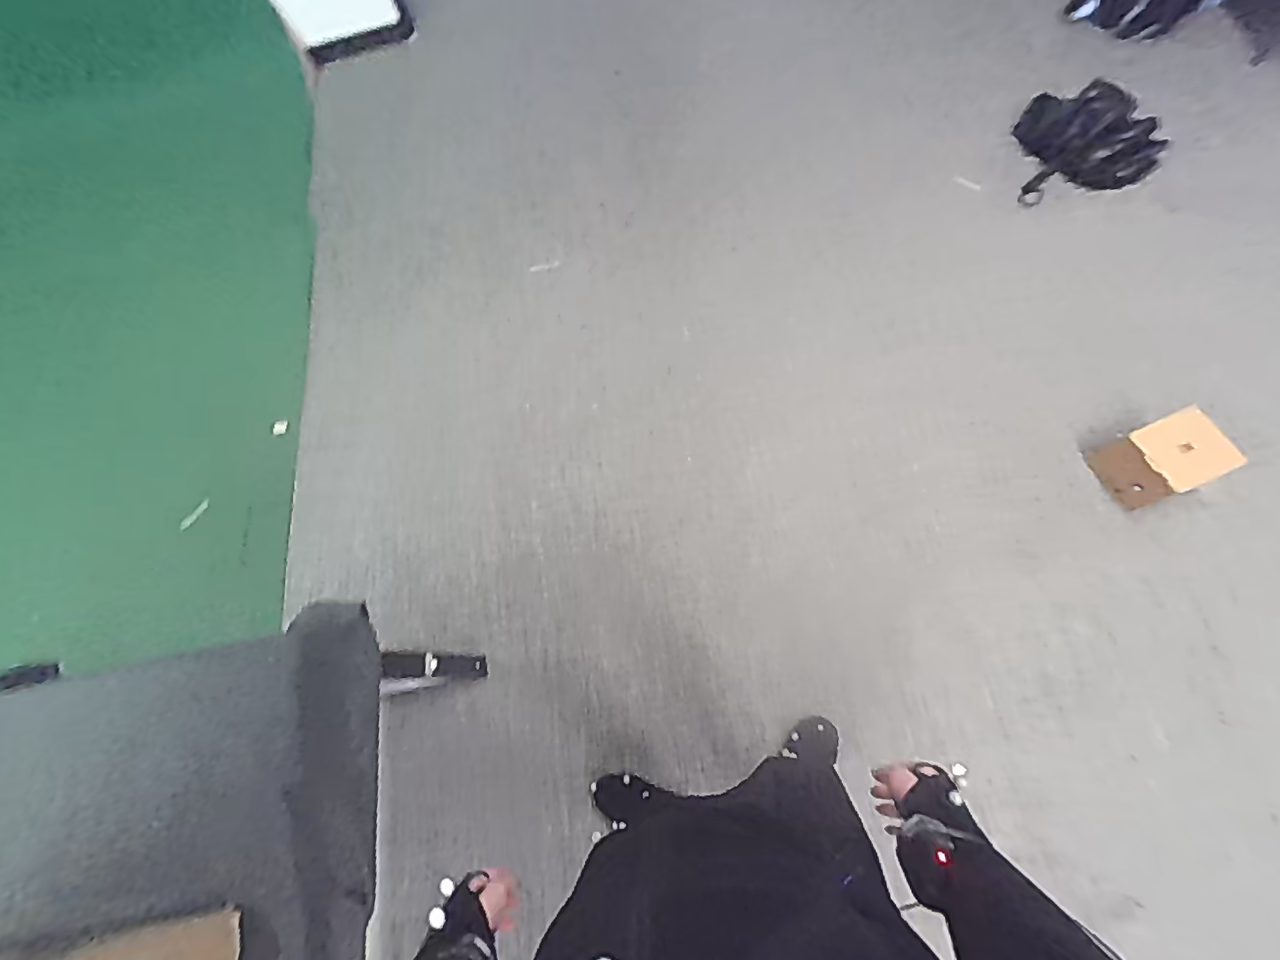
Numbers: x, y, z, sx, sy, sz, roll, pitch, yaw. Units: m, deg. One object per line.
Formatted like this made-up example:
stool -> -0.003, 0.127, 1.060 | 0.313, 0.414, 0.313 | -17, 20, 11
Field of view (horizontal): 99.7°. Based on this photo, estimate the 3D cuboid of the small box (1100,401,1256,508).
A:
small box -> 1.263, -0.052, 1.293 | 0.179, 0.176, 0.168 | -25, 70, -1
